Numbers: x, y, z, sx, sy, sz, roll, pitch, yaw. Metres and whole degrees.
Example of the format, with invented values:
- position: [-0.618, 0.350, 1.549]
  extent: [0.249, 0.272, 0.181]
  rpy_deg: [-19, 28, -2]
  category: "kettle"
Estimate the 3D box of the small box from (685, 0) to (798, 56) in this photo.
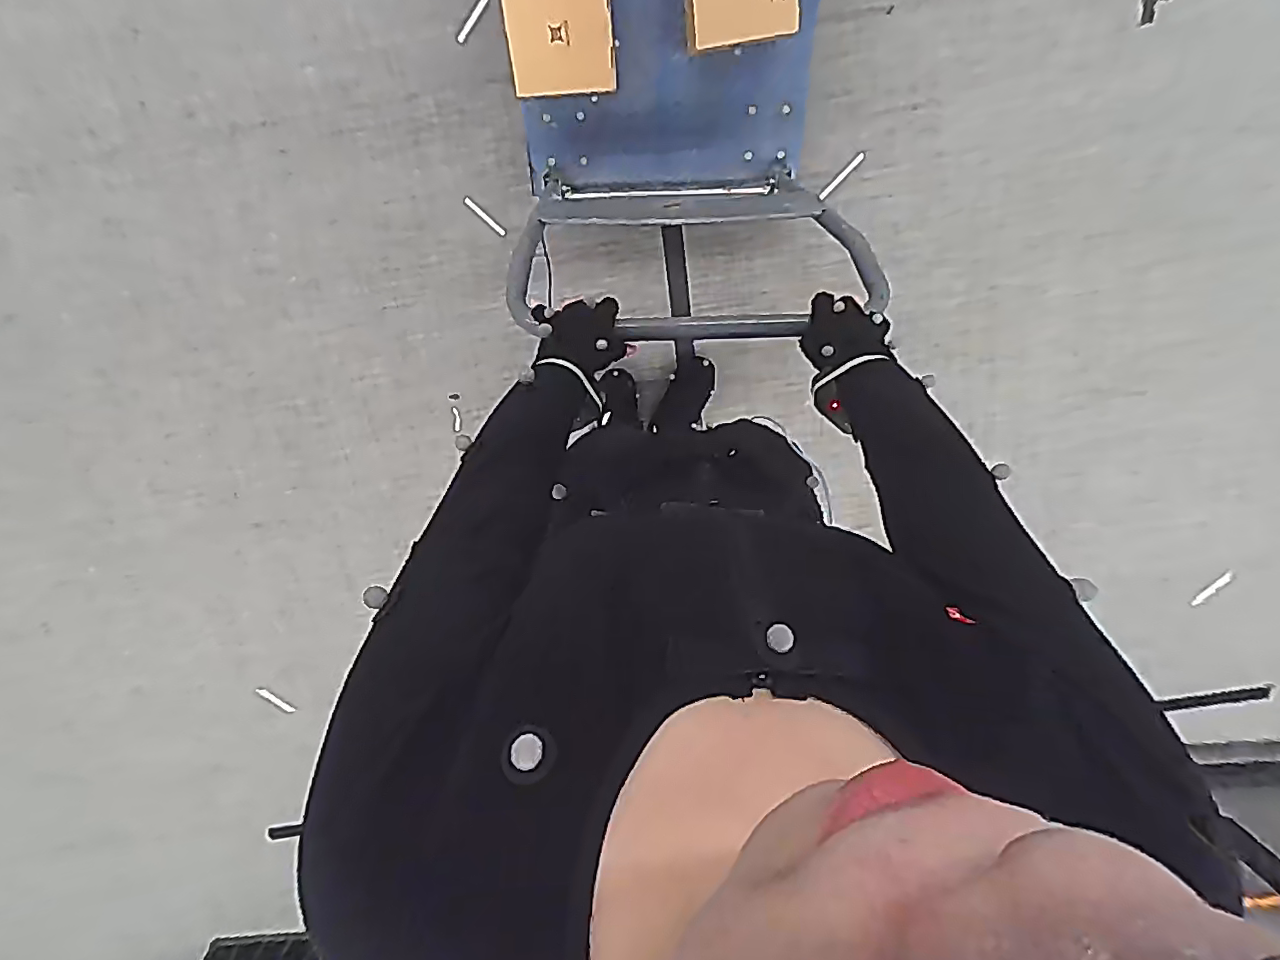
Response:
- position: [0.167, -0.848, 0.929]
  extent: [0.179, 0.176, 0.168]
  rpy_deg: [-7, 126, 4]
  category: "small box"

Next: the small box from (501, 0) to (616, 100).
- position: [-0.138, -0.788, 0.969]
  extent: [0.179, 0.176, 0.168]
  rpy_deg: [-5, 125, 1]
  category: "small box"
